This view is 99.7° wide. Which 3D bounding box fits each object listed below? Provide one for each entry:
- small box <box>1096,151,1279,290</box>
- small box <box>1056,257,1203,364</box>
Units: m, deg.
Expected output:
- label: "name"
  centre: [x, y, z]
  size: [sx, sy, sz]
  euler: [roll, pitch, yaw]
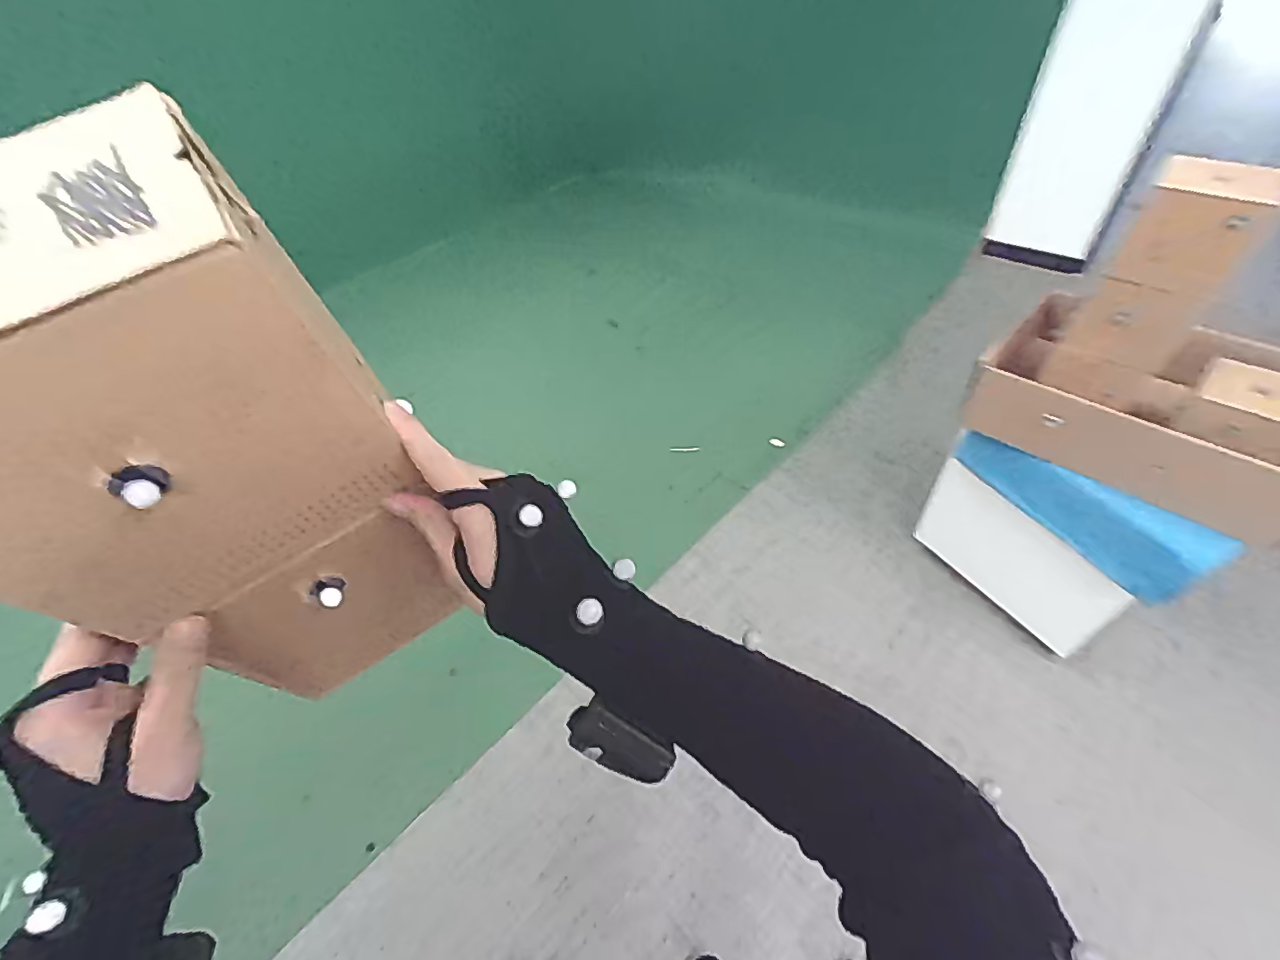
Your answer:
- label: "small box"
  centre: [0.991, -0.473, 0.991]
  size: [0.179, 0.176, 0.168]
  euler: [30, 58, 27]
- label: "small box"
  centre: [1.006, -0.364, 1.112]
  size: [0.179, 0.176, 0.168]
  euler: [30, 59, 29]
